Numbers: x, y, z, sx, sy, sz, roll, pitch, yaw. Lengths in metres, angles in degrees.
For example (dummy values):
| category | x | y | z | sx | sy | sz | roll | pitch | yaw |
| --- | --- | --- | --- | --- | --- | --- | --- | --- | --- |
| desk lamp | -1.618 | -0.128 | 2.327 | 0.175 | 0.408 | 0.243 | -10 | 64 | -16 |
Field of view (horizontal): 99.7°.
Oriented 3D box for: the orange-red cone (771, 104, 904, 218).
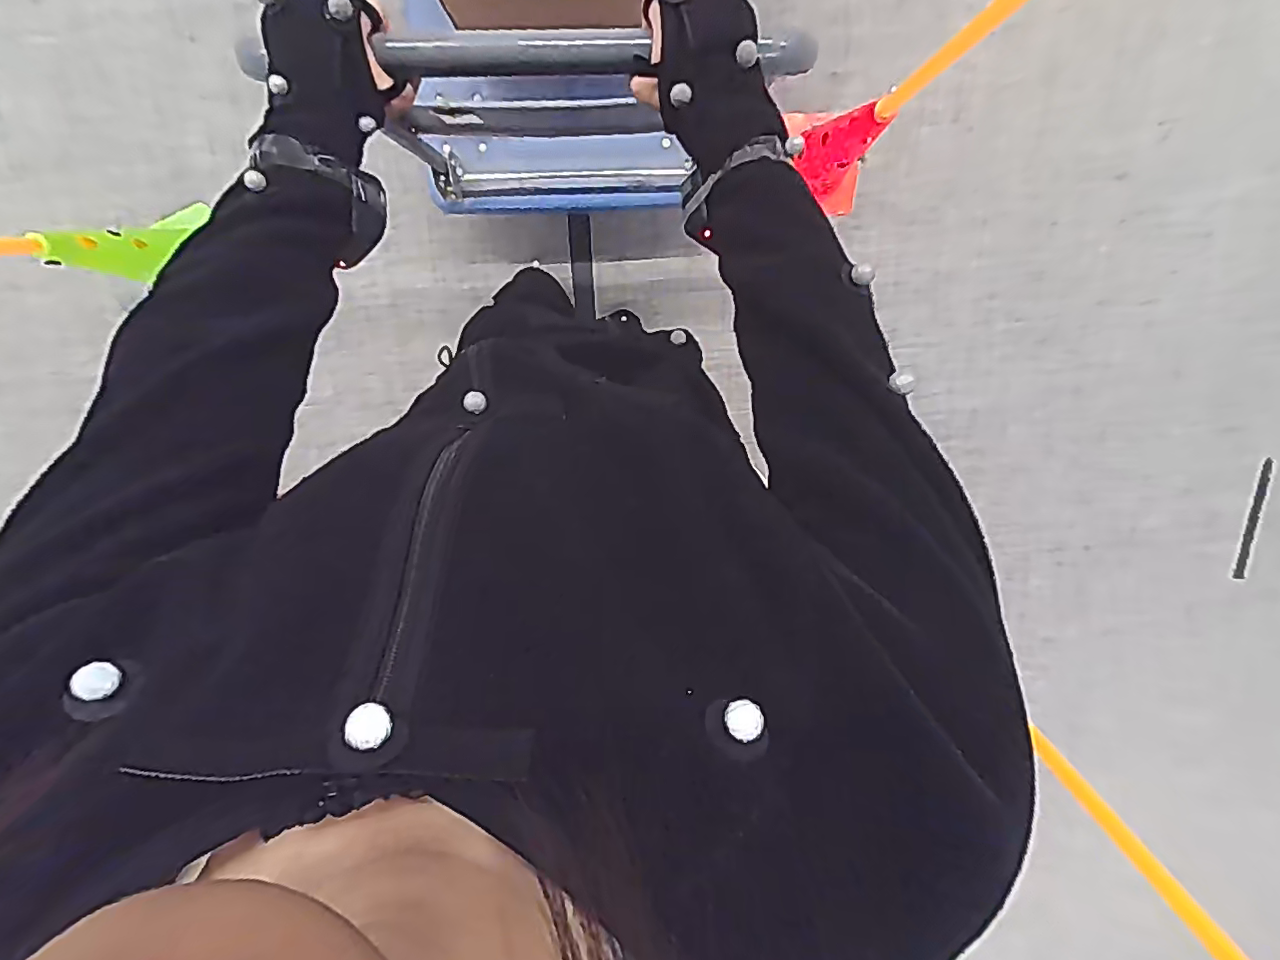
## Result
| category | x | y | z | sx | sy | sz | roll | pitch | yaw |
| --- | --- | --- | --- | --- | --- | --- | --- | --- | --- |
| orange-red cone | 0.411 | -0.653 | 1.055 | 0.199 | 0.360 | 0.198 | 3 | 108 | -4 |
